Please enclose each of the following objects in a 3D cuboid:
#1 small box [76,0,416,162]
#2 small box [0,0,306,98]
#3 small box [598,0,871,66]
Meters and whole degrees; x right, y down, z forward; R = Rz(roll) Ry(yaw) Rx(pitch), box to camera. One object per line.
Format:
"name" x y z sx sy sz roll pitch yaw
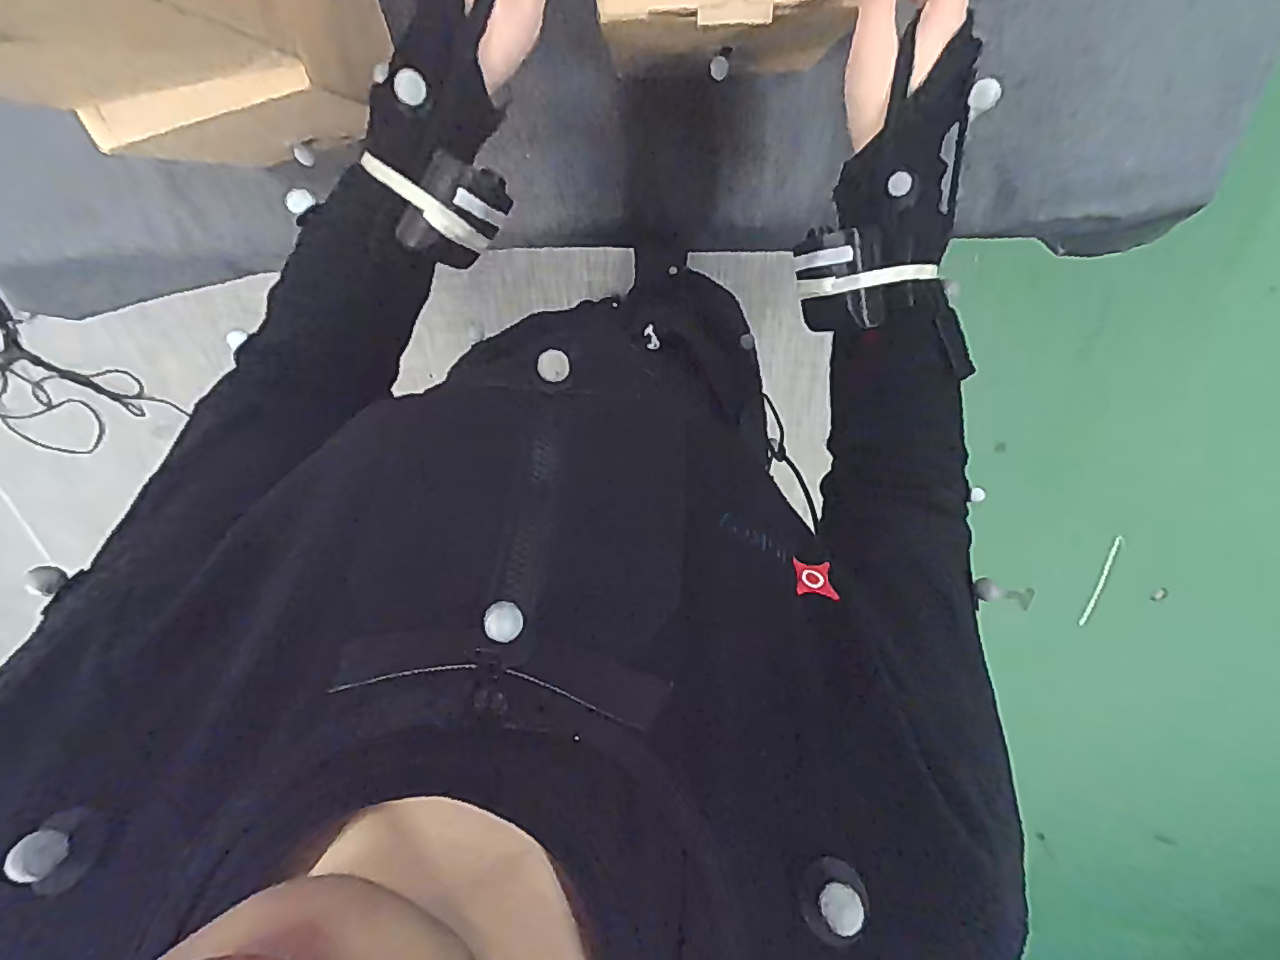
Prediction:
"small box" -0.296 -0.350 0.390 0.168 0.176 0.179 -10 117 8
"small box" -0.301 -0.289 0.238 0.179 0.176 0.168 -7 118 5
"small box" 0.059 -0.391 0.352 0.168 0.176 0.179 -1 118 4
